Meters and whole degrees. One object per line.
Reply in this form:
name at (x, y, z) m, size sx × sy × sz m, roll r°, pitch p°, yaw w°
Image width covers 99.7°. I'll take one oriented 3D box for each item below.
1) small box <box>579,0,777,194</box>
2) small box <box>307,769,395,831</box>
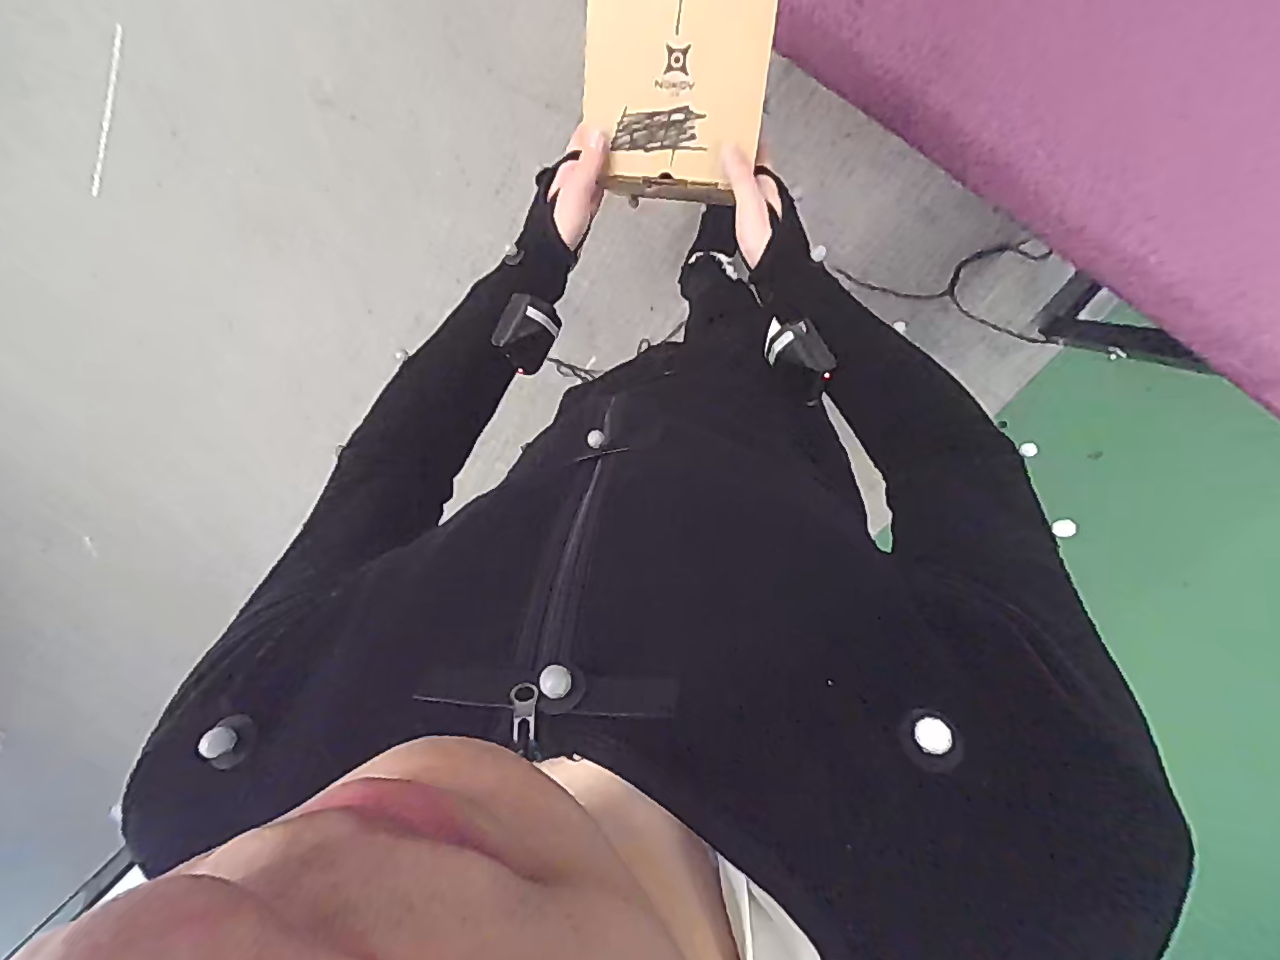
small box at (0.041, -0.402, 0.551) m, size 0.168 × 0.176 × 0.179 m, roll 8°, pitch 112°, yaw 5°
small box at (-0.894, 1.043, 1.668) m, size 0.168 × 0.176 × 0.179 m, roll 36°, pitch 110°, yaw -6°
